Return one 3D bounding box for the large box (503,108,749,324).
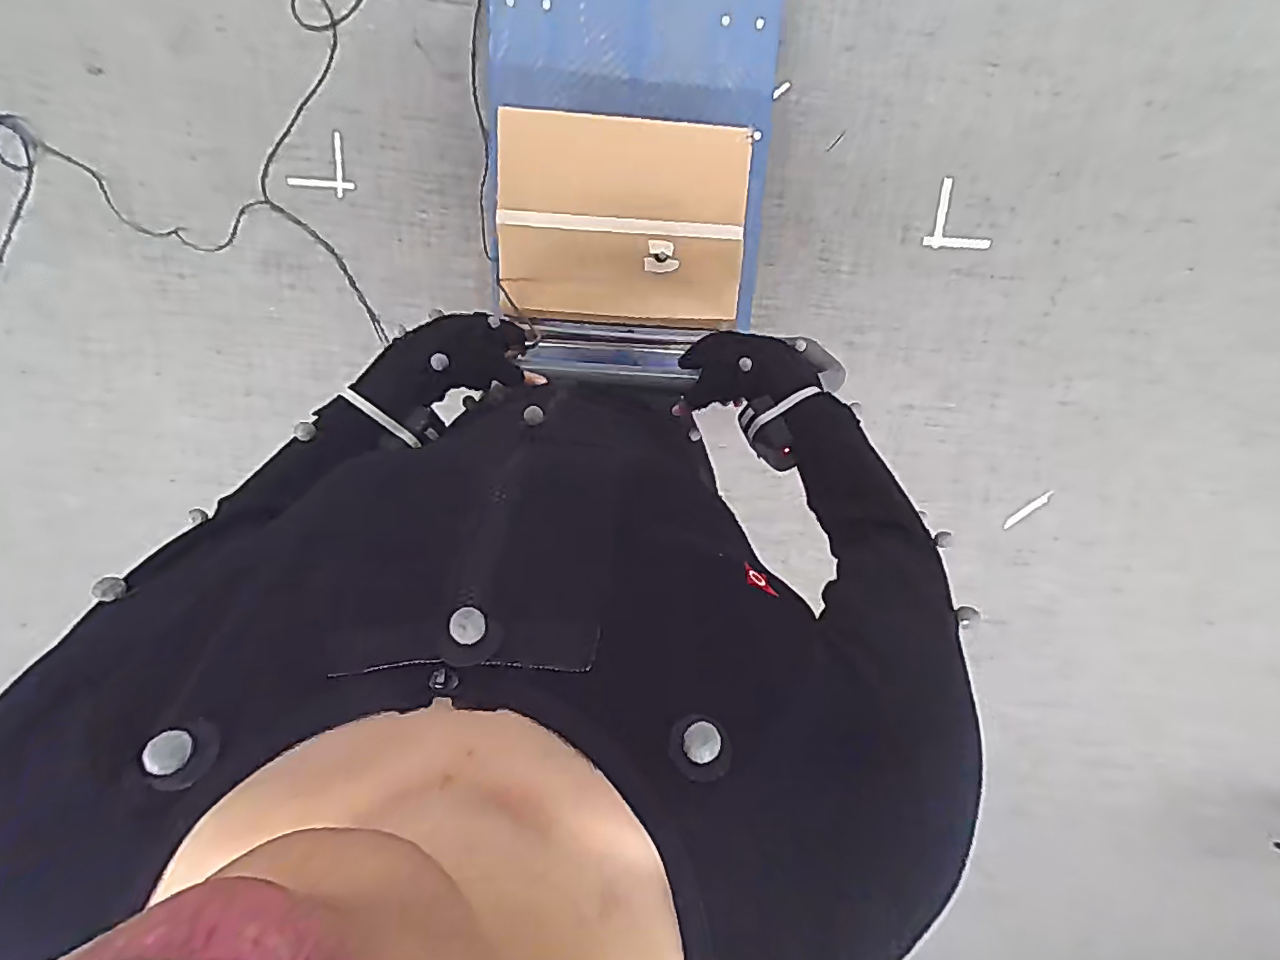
[{"bbox_3d":[-0.035,-0.473,1.047,0.408,0.320,0.320,2,106,-4],"label":"large box"}]
